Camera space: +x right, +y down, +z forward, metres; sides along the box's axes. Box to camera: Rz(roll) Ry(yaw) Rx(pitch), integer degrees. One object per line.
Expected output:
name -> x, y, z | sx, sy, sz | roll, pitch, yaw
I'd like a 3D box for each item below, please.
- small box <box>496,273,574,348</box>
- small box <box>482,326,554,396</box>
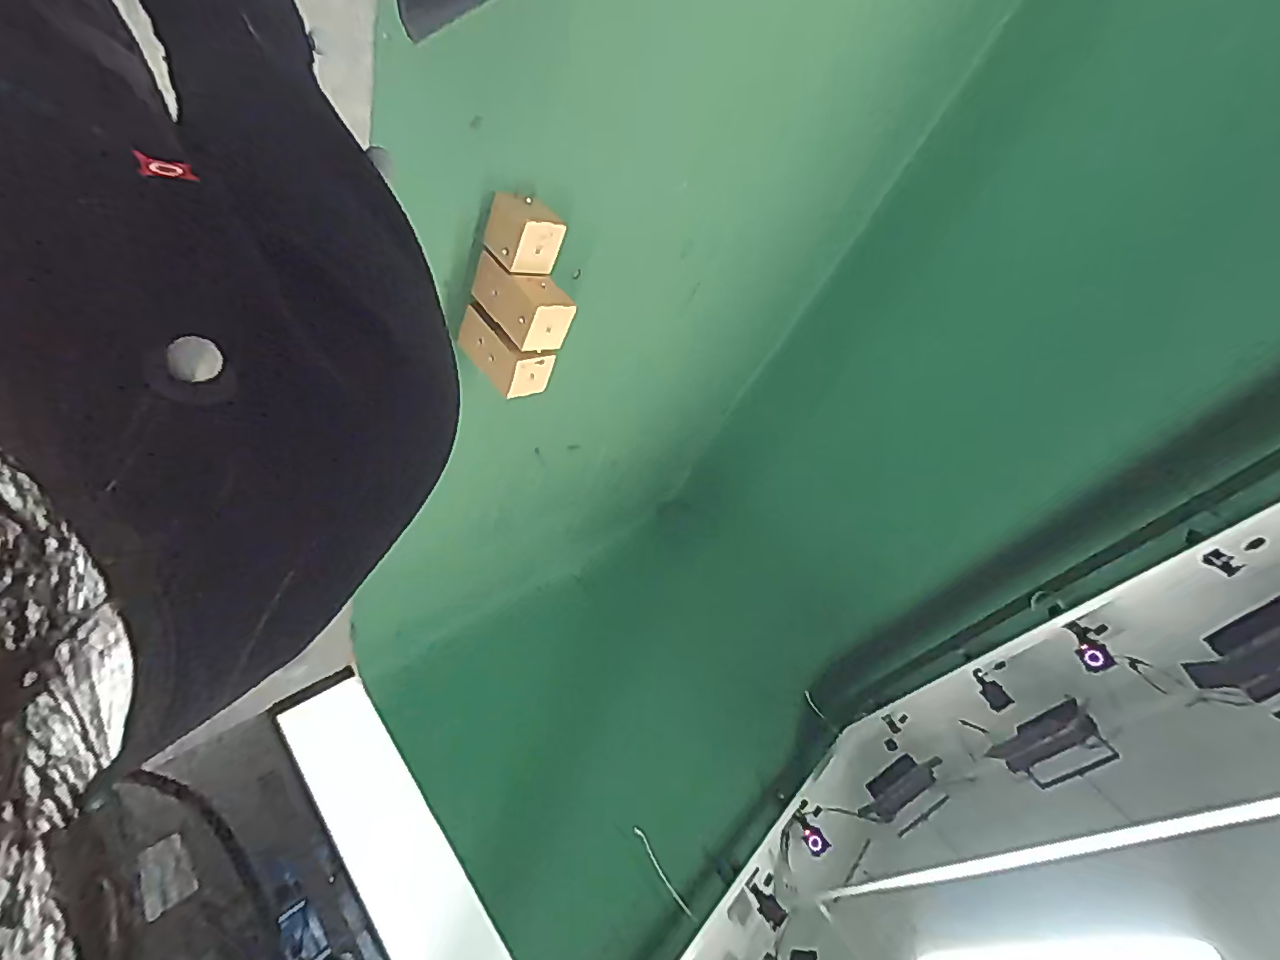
small box -> -0.355, -0.562, 1.802 | 0.168, 0.176, 0.179 | -18, 150, -47
small box -> -0.440, -0.429, 1.928 | 0.168, 0.176, 0.179 | -23, 155, -43
